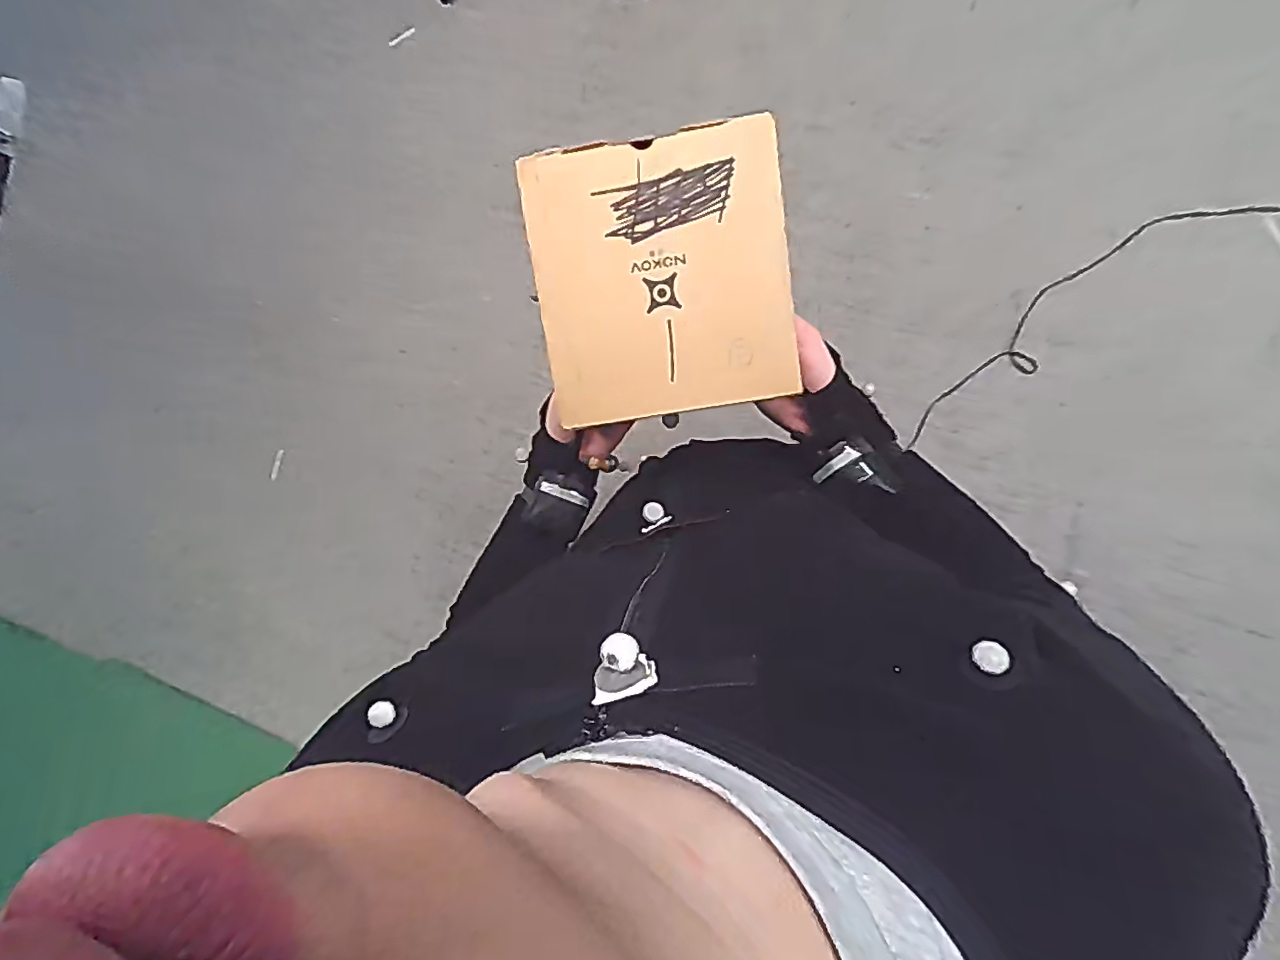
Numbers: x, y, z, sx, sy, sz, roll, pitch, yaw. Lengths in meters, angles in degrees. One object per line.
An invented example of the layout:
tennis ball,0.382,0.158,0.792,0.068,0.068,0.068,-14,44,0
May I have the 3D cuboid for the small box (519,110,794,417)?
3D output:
small box,0.015,-0.151,0.433,0.168,0.176,0.179,-8,101,4
